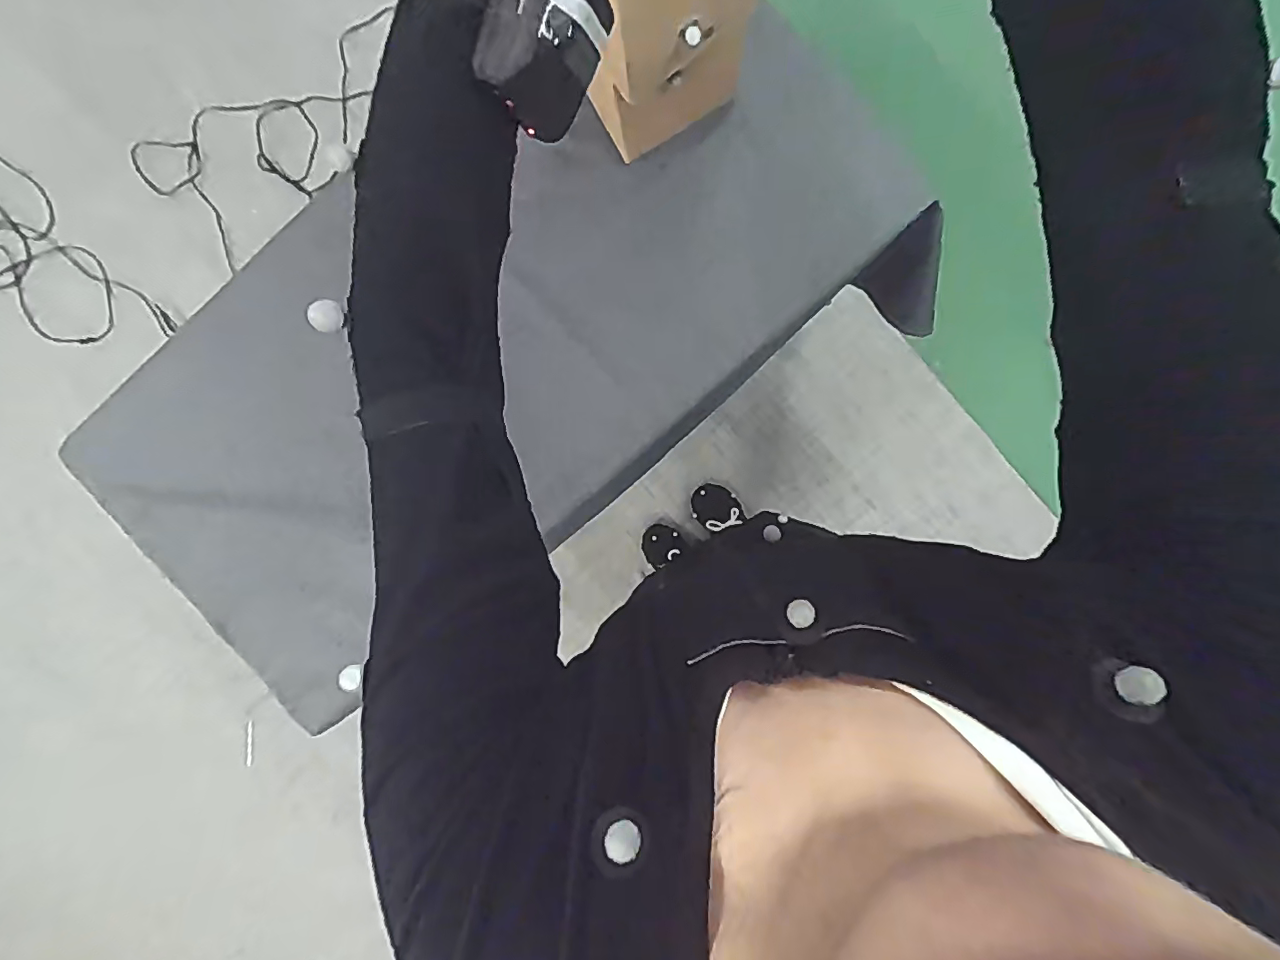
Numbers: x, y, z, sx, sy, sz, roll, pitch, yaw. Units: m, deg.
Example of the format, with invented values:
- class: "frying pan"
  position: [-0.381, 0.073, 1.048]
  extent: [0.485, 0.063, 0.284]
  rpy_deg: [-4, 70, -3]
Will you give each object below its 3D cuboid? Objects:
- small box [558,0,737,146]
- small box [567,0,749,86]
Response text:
- class: "small box"
  position: [0.010, -0.559, 0.663]
  extent: [0.179, 0.176, 0.168]
  rpy_deg: [-29, 91, 5]
- class: "small box"
  position: [0.002, -0.530, 0.501]
  extent: [0.168, 0.176, 0.179]
  rpy_deg: [-35, 91, 6]
